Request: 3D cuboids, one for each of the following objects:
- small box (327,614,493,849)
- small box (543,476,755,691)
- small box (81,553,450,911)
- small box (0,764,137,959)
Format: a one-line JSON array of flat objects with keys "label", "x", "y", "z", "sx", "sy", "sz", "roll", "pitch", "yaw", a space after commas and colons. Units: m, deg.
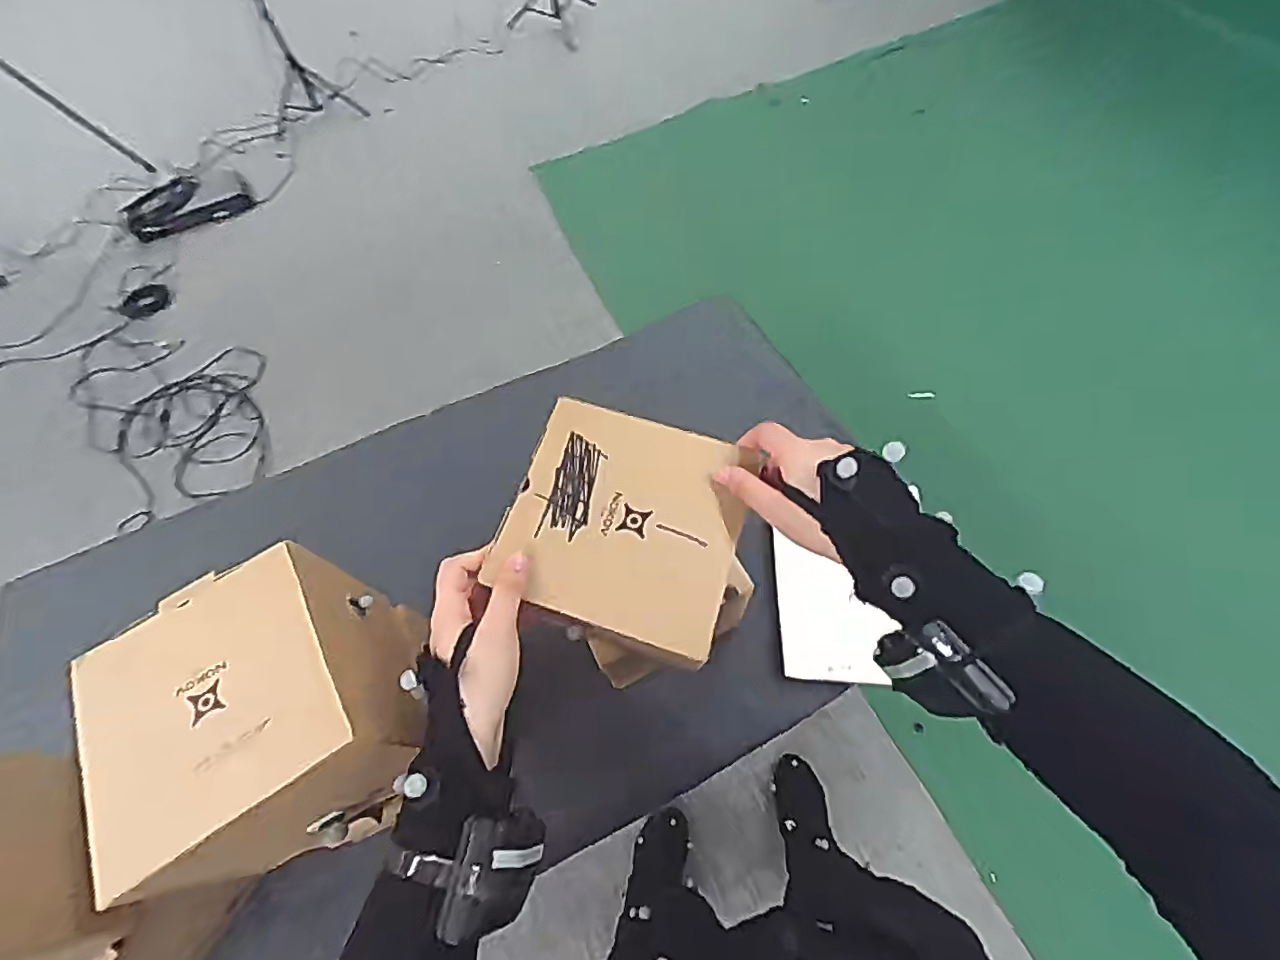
[{"label": "small box", "x": -0.279, "y": 0.276, "z": 0.587, "sx": 0.168, "sy": 0.176, "sz": 0.179, "roll": -23, "pitch": 61, "yaw": -6}, {"label": "small box", "x": 0.011, "y": 0.128, "z": 0.637, "sx": 0.179, "sy": 0.176, "sz": 0.168, "roll": -27, "pitch": 64, "yaw": -7}, {"label": "small box", "x": -0.290, "y": 0.197, "z": 0.446, "sx": 0.168, "sy": 0.176, "sz": 0.179, "roll": -33, "pitch": 64, "yaw": -11}, {"label": "small box", "x": -0.538, "y": 0.337, "z": 0.393, "sx": 0.179, "sy": 0.176, "sz": 0.168, "roll": -38, "pitch": 64, "yaw": -14}]
